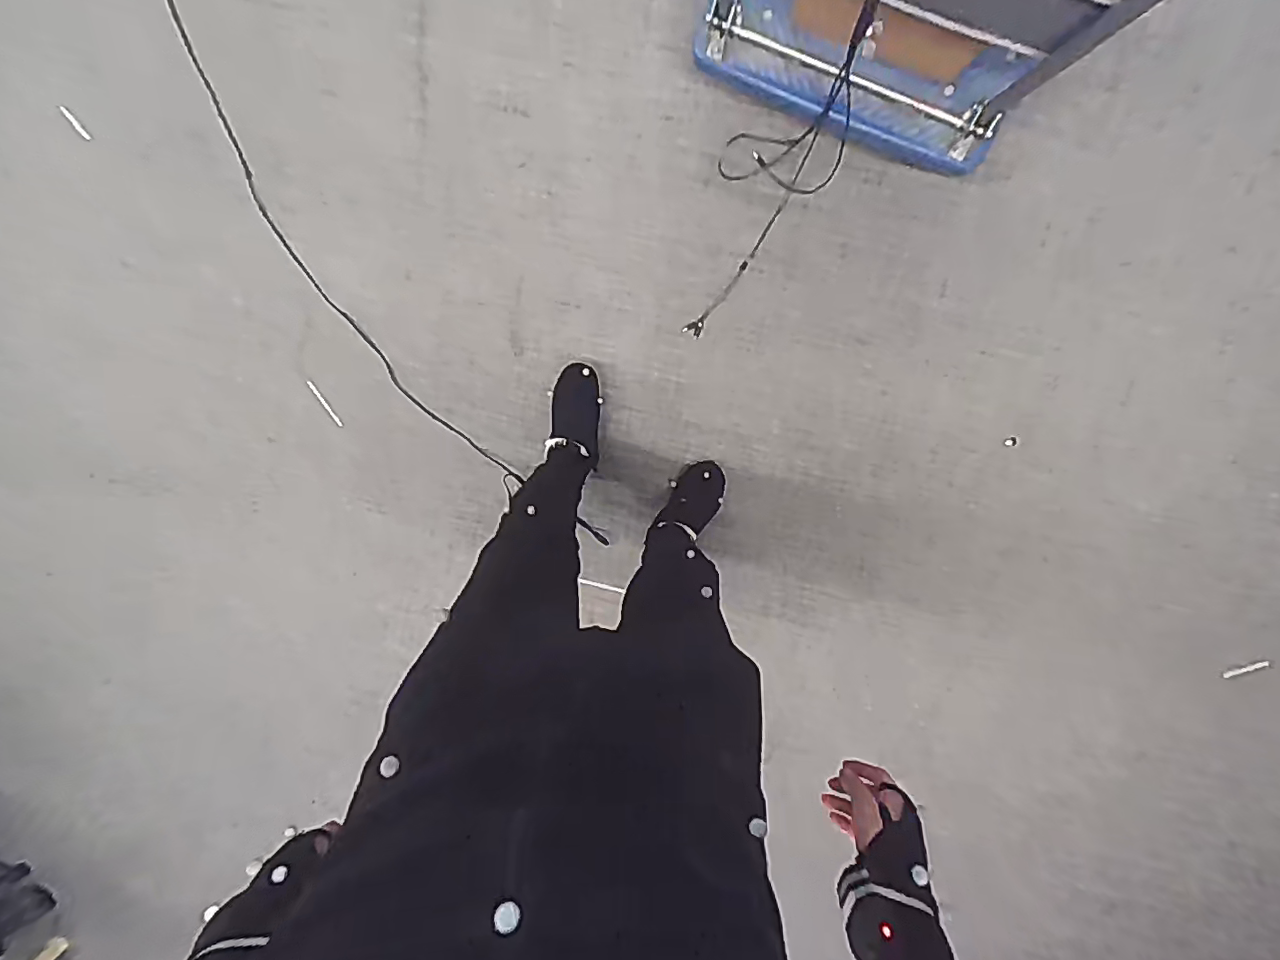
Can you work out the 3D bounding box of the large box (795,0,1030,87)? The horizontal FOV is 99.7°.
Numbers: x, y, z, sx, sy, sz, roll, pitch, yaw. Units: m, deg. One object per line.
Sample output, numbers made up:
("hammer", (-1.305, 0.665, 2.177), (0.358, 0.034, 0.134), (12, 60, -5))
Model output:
("large box", (0.459, -0.886, 0.765), (0.320, 0.320, 0.408), (23, 105, 1))
